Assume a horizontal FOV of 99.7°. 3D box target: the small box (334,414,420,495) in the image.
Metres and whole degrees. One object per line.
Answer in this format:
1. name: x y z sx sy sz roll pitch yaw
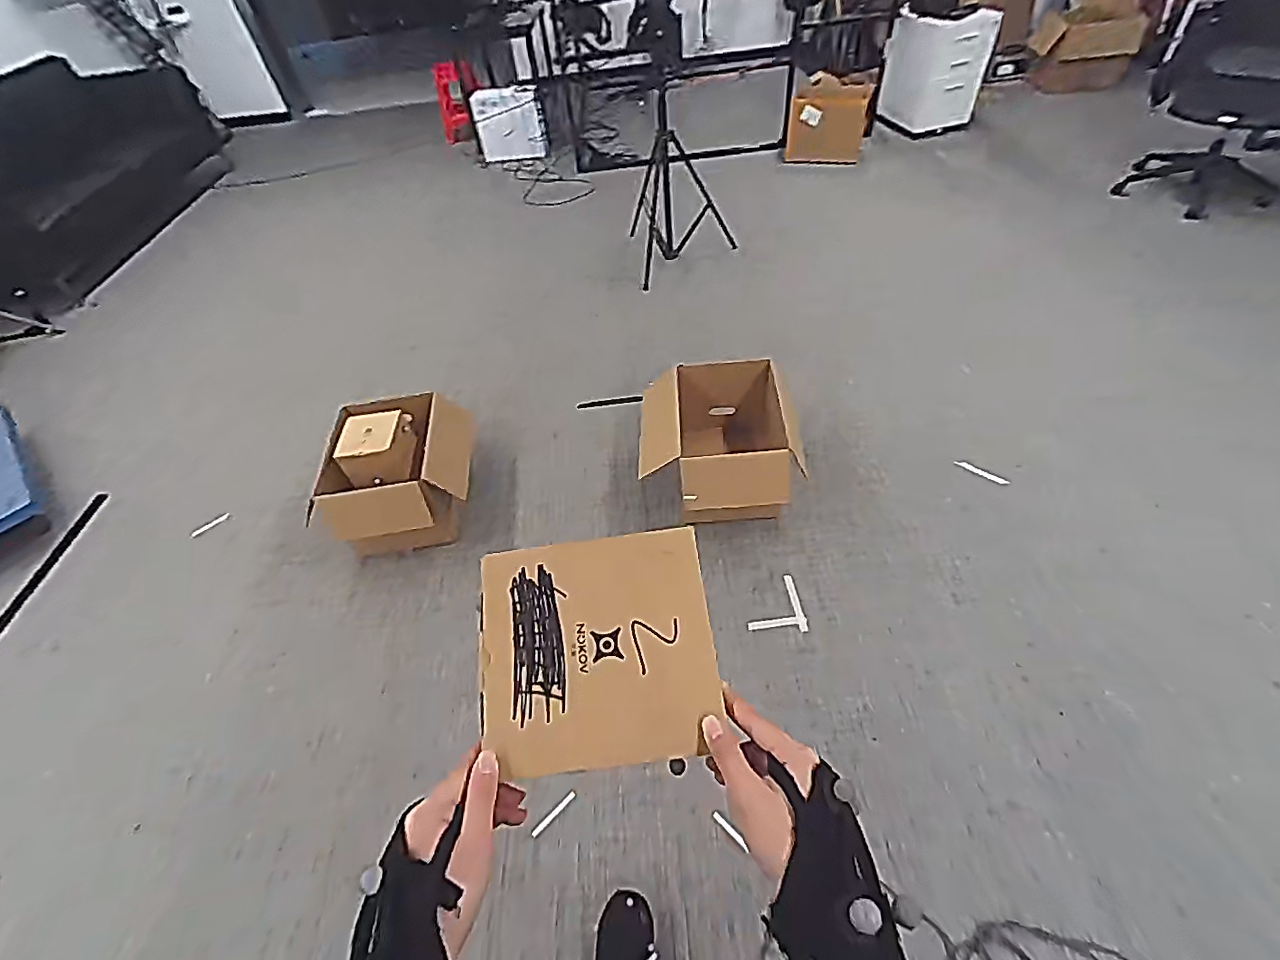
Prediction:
1. small box: -0.801 -0.077 1.669 0.168 0.176 0.179 -8 49 1
